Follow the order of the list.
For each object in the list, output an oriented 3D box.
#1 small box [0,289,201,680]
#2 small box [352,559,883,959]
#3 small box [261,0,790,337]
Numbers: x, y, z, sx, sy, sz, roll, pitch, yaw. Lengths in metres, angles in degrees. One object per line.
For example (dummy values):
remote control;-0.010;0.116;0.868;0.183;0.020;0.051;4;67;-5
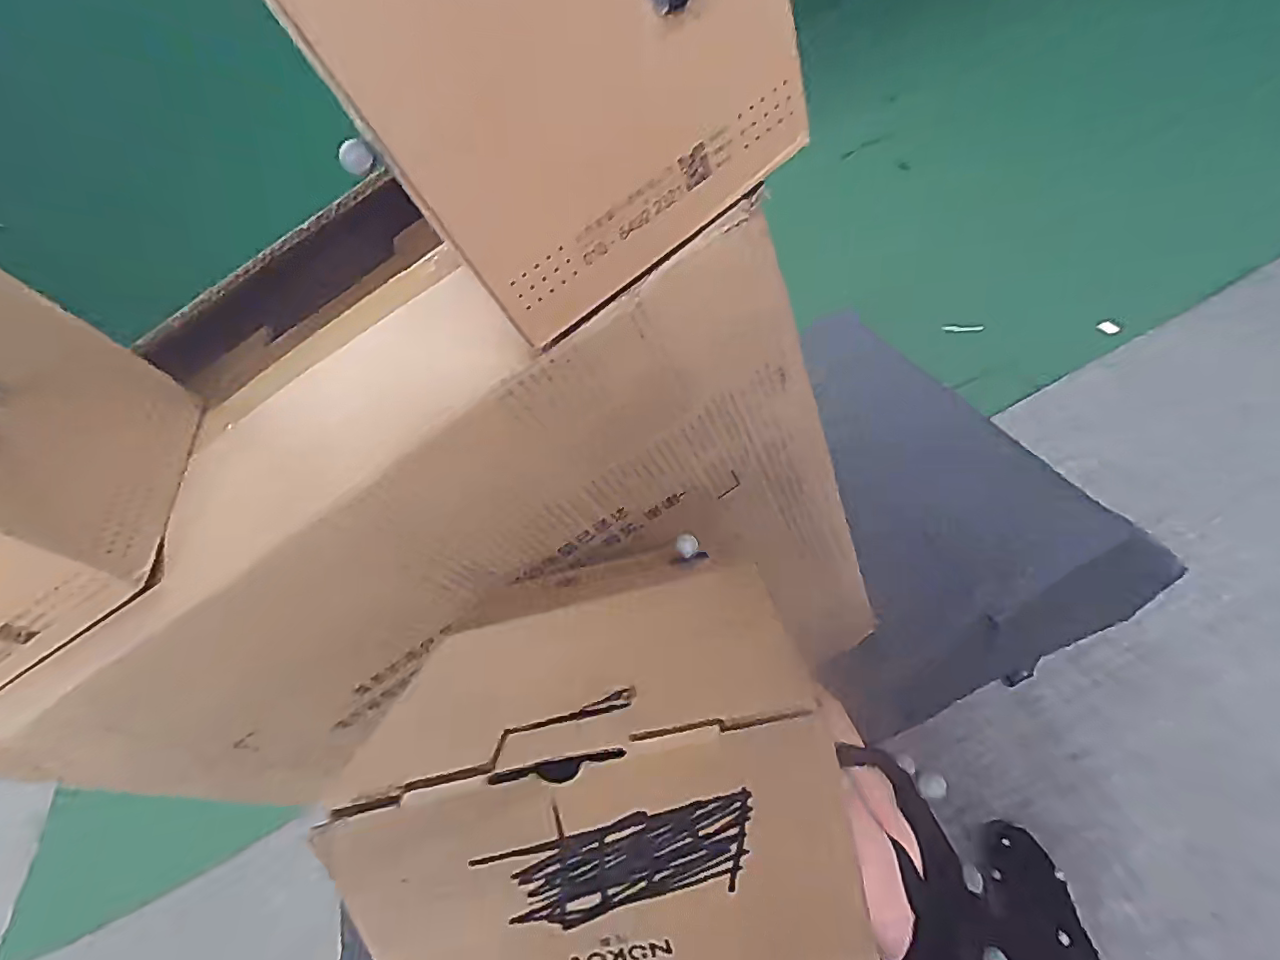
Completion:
small box;-0.383;0.000;0.285;0.168;0.176;0.179;-32;49;4
small box;0.003;0.151;0.268;0.168;0.179;0.176;-13;11;5
small box;-0.053;-0.196;0.255;0.168;0.176;0.179;-37;48;-4
